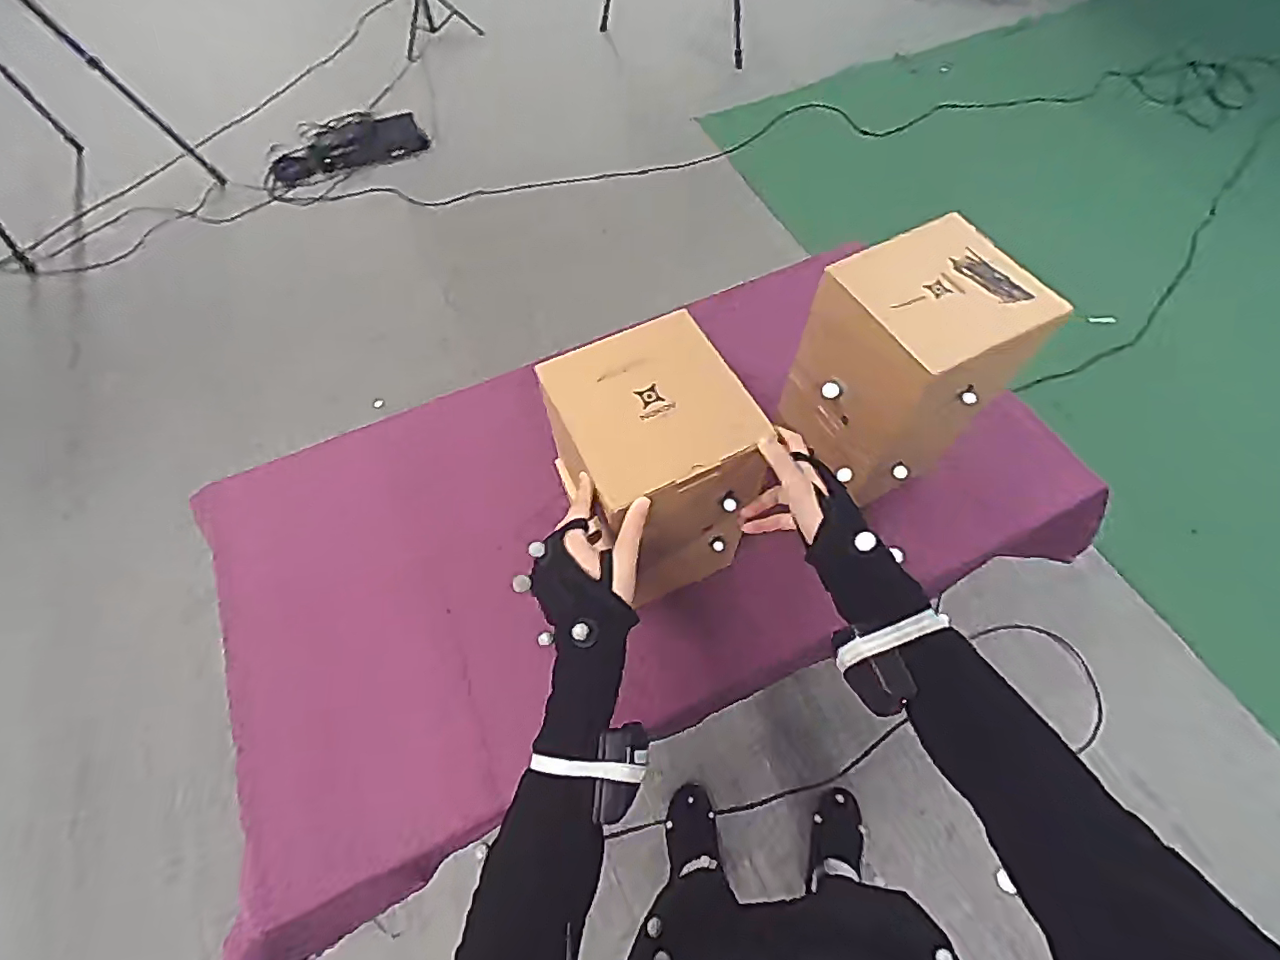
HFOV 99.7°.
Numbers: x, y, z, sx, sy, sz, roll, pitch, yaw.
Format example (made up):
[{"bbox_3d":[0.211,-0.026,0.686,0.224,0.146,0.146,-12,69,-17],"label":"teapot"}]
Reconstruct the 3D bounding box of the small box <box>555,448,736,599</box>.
[{"bbox_3d":[0.009,0.034,0.711,0.179,0.176,0.168,-23,63,-10],"label":"small box"}]

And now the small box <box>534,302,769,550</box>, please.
[{"bbox_3d":[0.009,-0.045,0.569,0.168,0.176,0.179,-24,63,-11],"label":"small box"}]

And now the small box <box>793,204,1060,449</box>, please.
[{"bbox_3d":[0.301,-0.167,0.614,0.179,0.176,0.168,-26,64,-10],"label":"small box"}]

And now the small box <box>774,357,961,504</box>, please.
[{"bbox_3d":[0.306,-0.093,0.762,0.179,0.176,0.168,-27,65,-10],"label":"small box"}]
